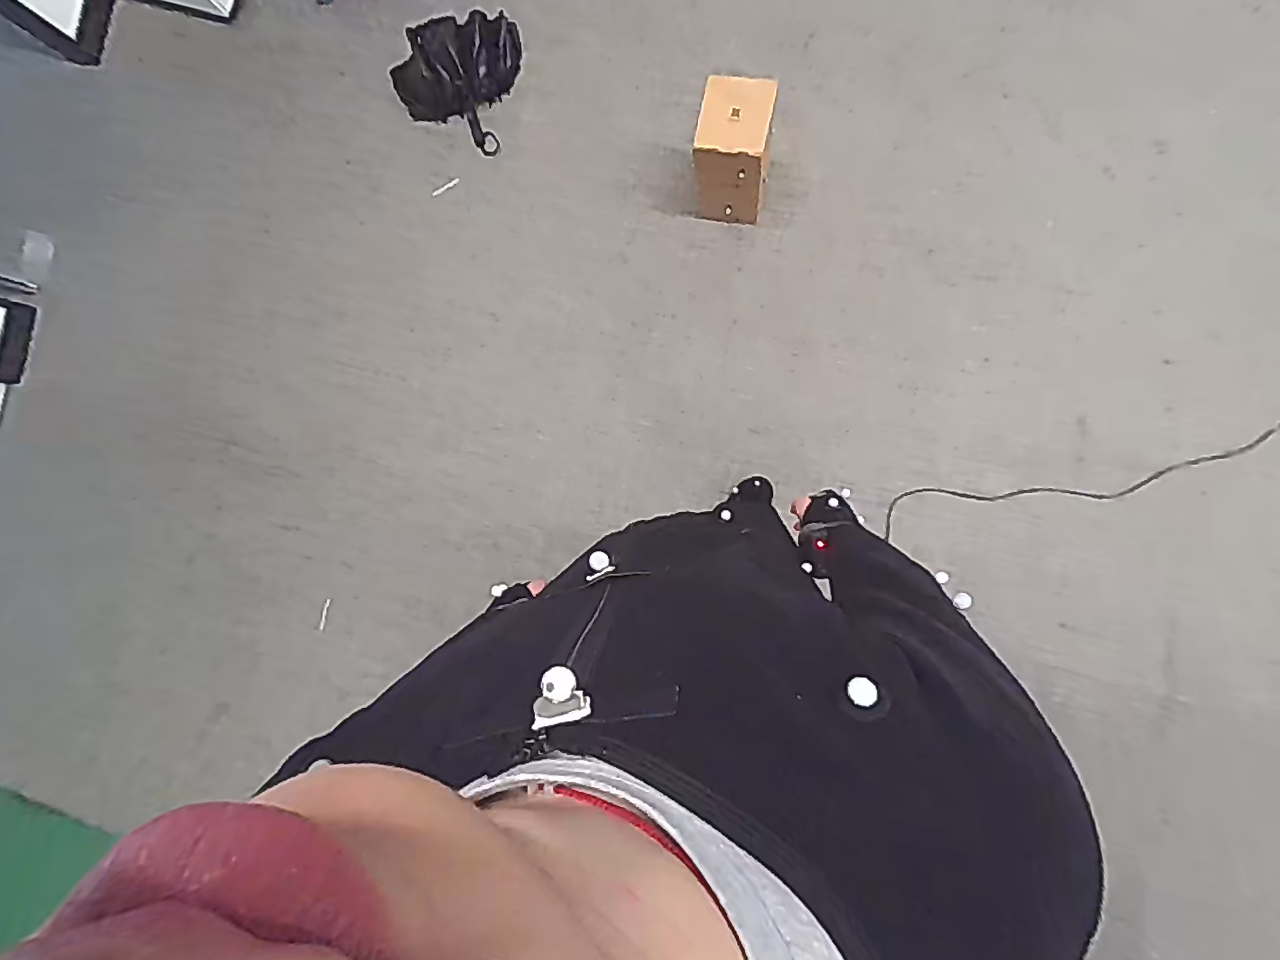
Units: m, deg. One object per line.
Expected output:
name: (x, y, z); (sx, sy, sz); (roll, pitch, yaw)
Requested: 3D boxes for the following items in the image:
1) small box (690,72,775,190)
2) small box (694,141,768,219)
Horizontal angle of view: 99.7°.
small box: (0.223, -0.835, 1.310); (0.168, 0.176, 0.179); (12, 90, 9)
small box: (0.251, -0.837, 1.470); (0.168, 0.176, 0.179); (11, 92, 10)
